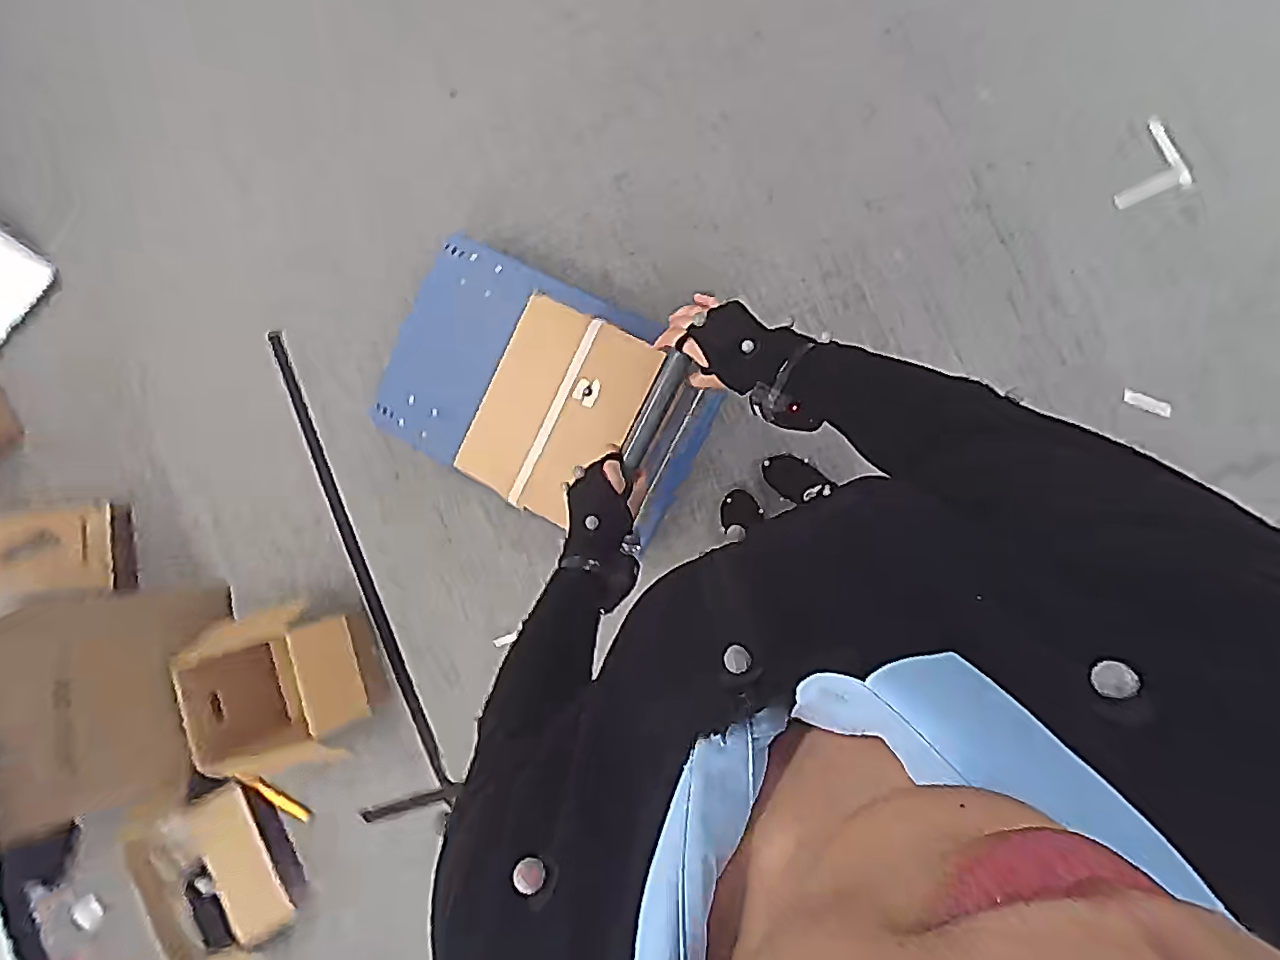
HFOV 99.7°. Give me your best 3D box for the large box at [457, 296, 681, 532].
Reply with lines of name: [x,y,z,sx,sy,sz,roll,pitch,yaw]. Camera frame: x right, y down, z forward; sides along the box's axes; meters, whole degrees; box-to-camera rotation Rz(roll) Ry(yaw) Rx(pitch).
large box: [-0.143,-0.134,1.241,0.320,0.320,0.408,27,96,10]
